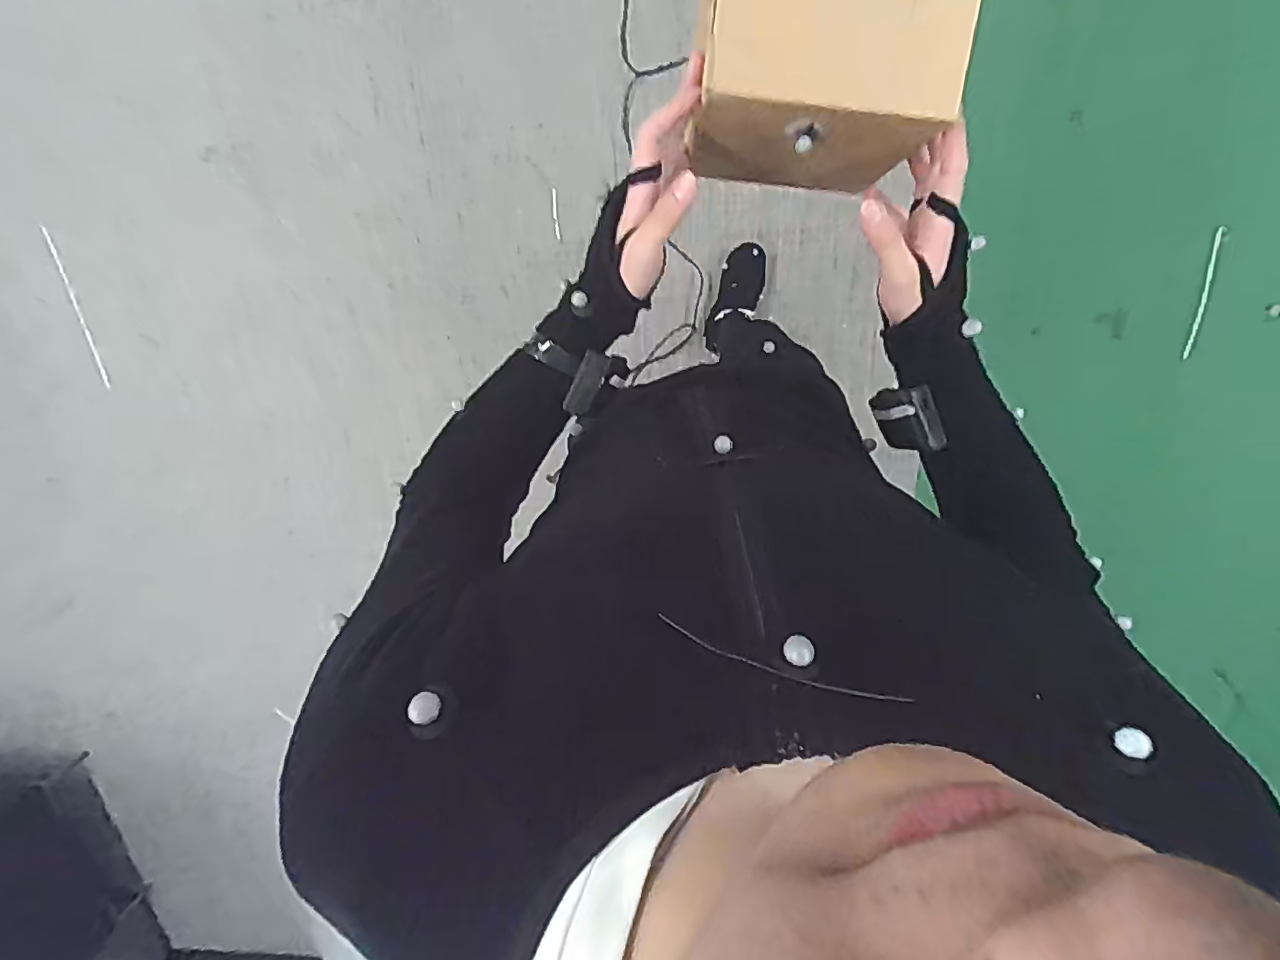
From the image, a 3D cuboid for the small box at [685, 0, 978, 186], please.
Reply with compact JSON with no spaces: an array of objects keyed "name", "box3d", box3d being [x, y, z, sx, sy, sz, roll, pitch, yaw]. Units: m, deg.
[{"name":"small box","box3d":[0.133,-0.348,0.419,0.179,0.176,0.168,6,102,-2]}]
